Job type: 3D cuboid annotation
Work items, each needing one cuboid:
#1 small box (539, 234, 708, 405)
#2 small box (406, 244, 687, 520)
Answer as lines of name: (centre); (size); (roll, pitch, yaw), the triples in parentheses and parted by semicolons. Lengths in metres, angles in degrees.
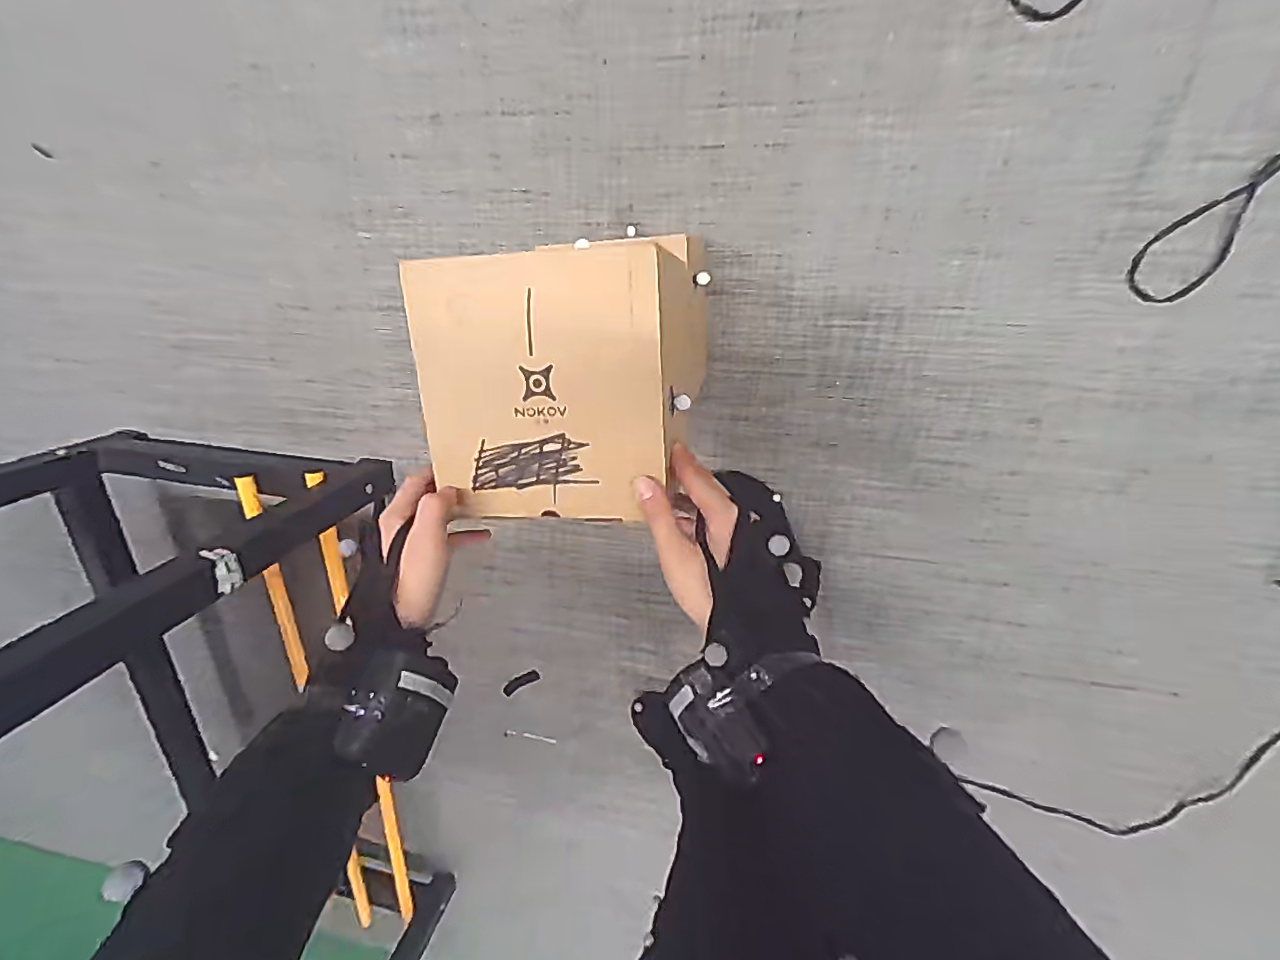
small box: (-0.009, -0.195, 0.657); (0.168, 0.176, 0.179); (1, 113, 14)
small box: (-0.052, -0.082, 0.428); (0.168, 0.176, 0.179); (1, 107, 10)
